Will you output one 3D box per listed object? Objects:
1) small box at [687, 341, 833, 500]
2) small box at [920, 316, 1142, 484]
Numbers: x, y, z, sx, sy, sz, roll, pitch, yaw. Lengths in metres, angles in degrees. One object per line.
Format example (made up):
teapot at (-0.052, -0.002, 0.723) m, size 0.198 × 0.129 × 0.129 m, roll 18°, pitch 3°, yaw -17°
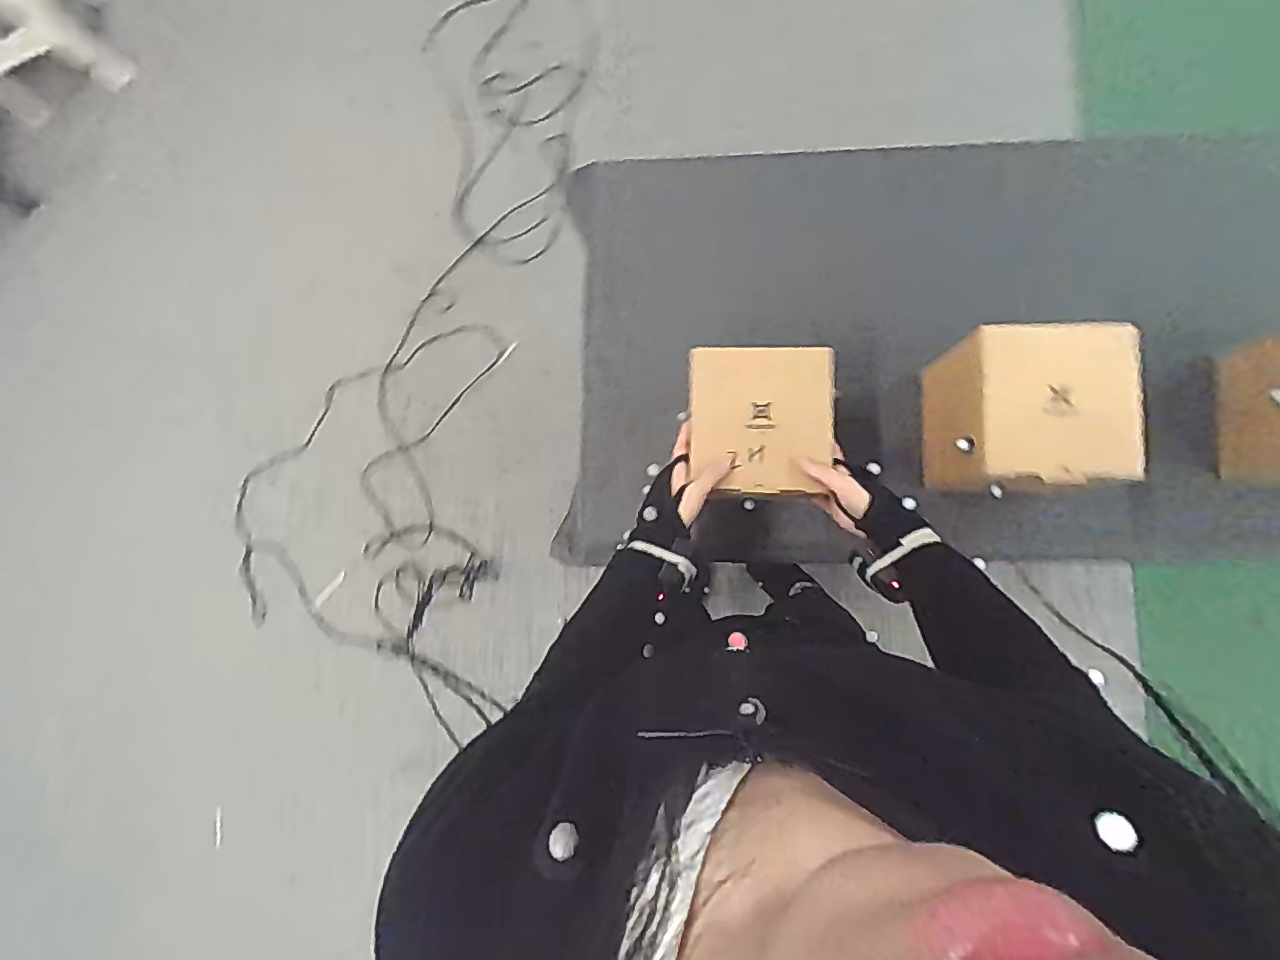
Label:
small box at (0.145, -0.069, 0.707) m, size 0.168 × 0.176 × 0.179 m, roll 0°, pitch 84°, yaw 5°
small box at (0.476, -0.091, 0.687) m, size 0.168 × 0.176 × 0.179 m, roll 0°, pitch 84°, yaw 4°
